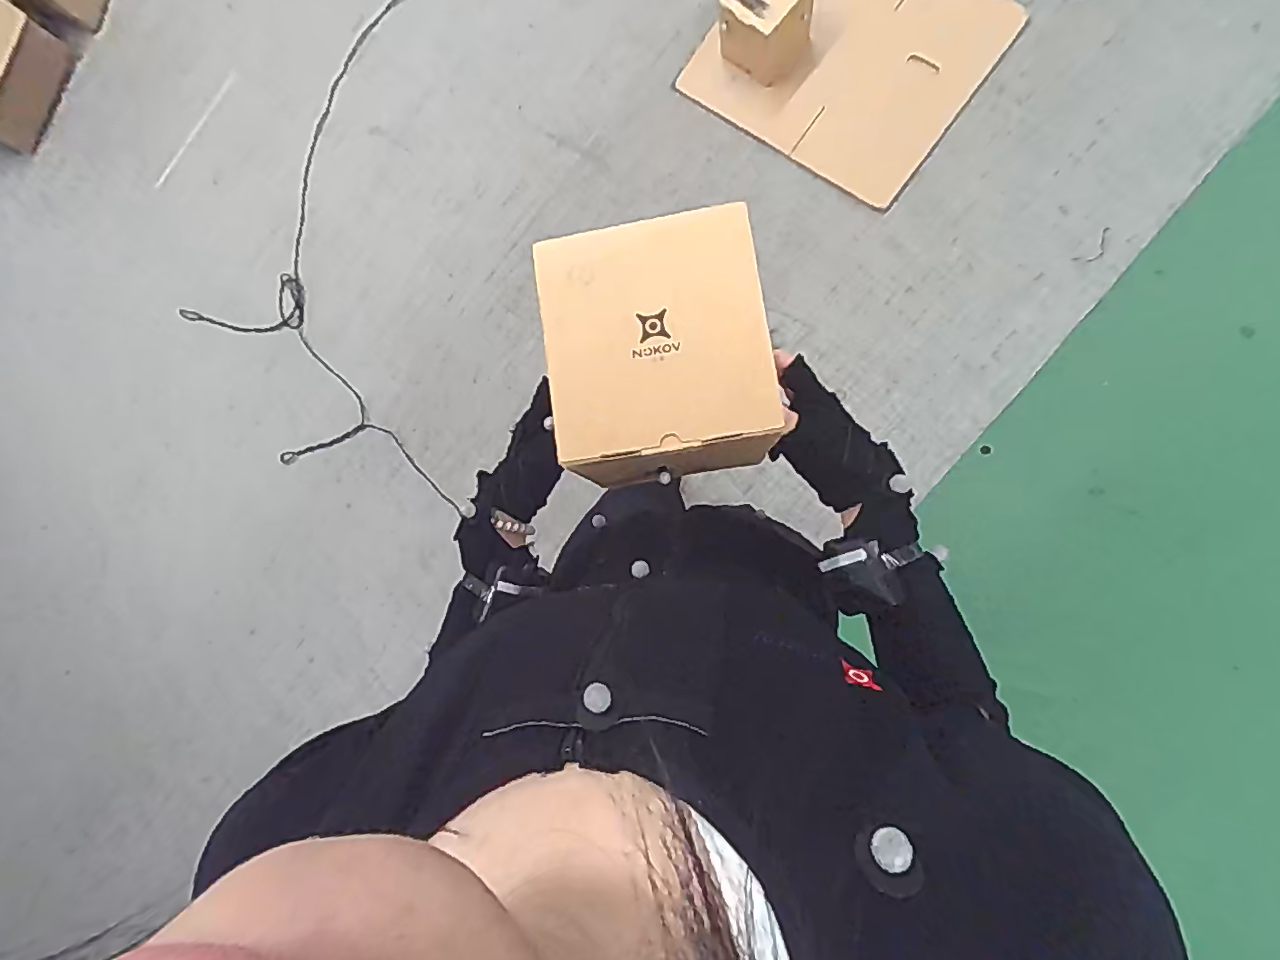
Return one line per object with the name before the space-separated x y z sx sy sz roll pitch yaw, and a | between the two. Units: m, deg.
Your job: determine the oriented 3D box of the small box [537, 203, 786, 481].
small box | 0.019 -0.102 0.477 0.168 0.176 0.179 -9 84 5
